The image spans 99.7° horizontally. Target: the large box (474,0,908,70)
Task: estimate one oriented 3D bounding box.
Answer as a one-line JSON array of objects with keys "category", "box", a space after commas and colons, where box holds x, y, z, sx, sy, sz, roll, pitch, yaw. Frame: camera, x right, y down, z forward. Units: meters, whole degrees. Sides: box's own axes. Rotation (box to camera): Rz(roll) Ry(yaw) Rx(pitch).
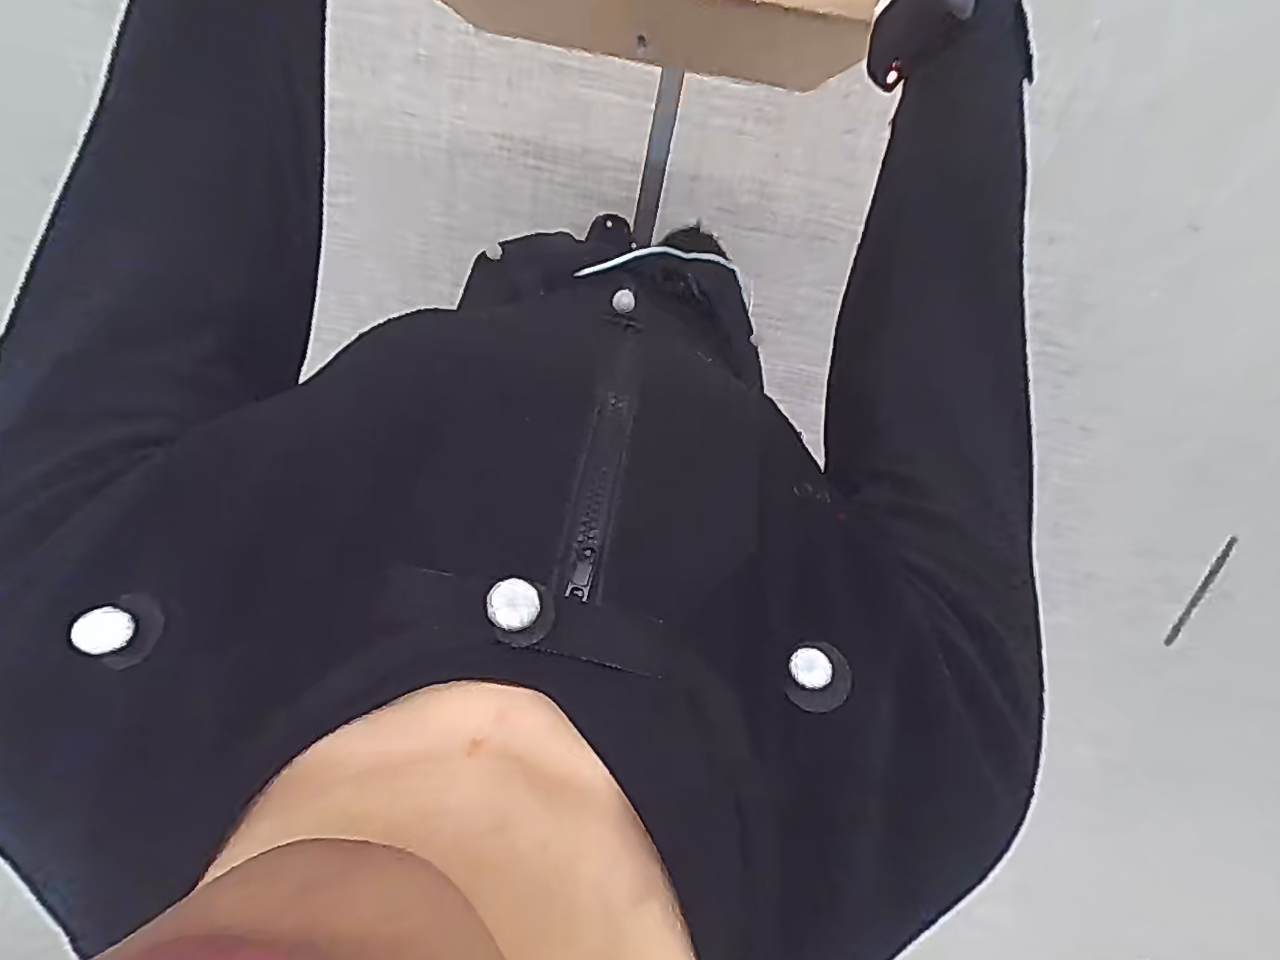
[{"category": "large box", "box": [0.030, -0.573, 0.437, 0.408, 0.320, 0.320, 9, 118, -3]}]
